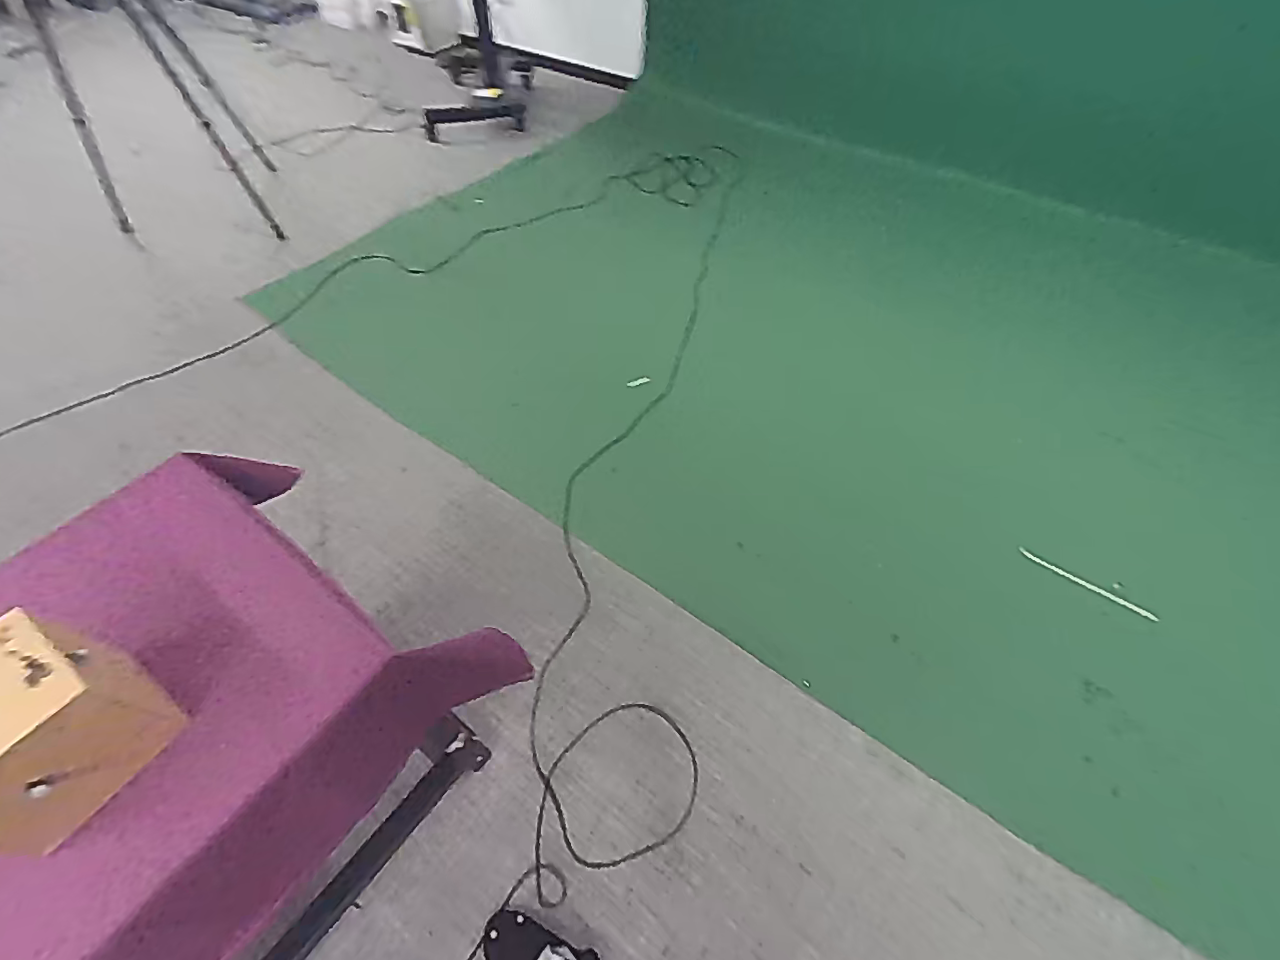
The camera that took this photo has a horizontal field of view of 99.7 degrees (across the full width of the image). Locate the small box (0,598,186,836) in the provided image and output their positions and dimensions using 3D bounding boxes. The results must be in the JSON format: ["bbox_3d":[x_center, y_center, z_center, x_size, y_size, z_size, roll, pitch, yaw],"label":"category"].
[{"bbox_3d":[-0.697,0.277,0.624,0.168,0.176,0.179,29,59,20],"label":"small box"}]
